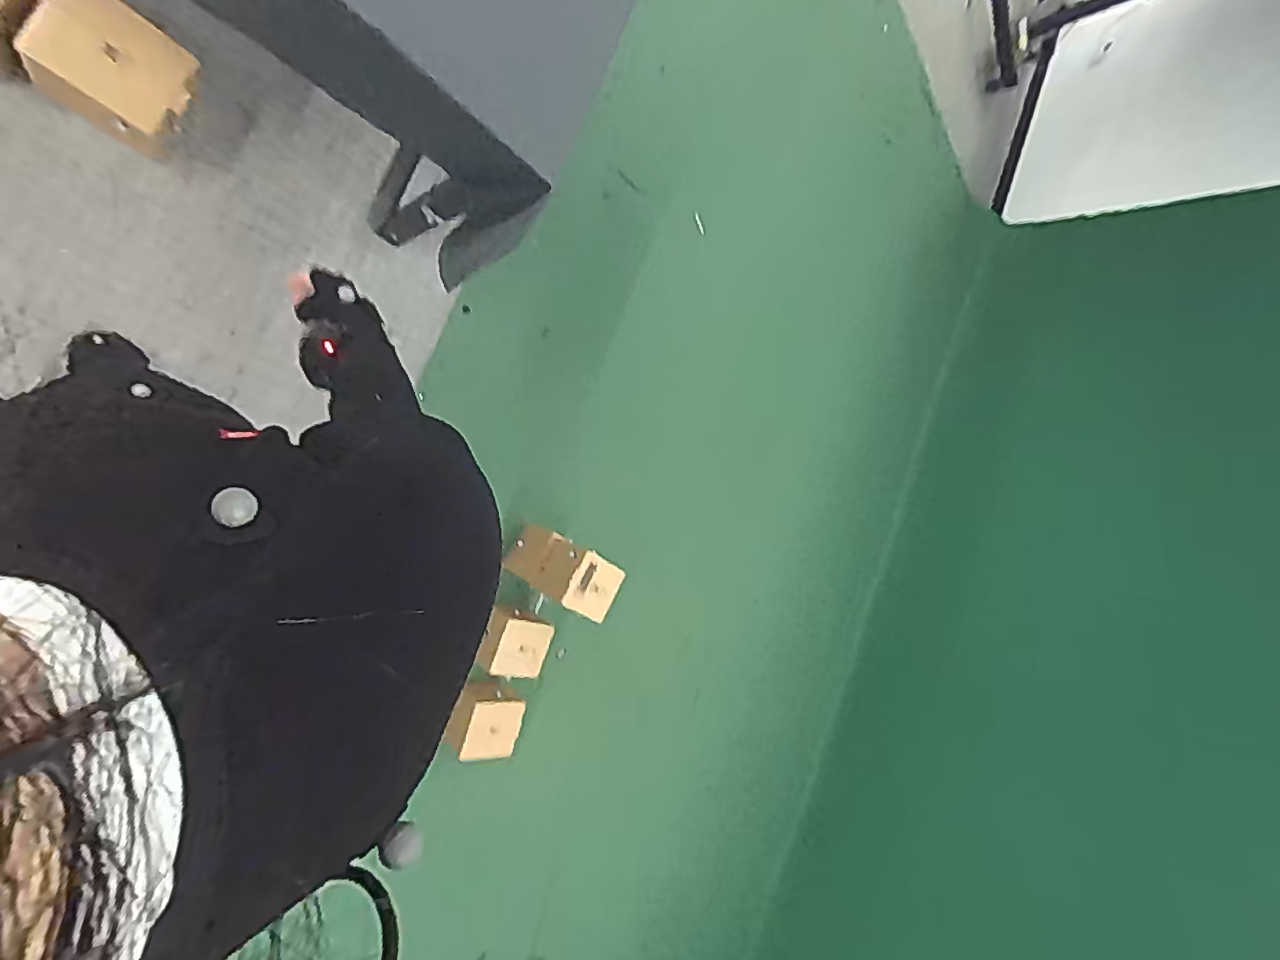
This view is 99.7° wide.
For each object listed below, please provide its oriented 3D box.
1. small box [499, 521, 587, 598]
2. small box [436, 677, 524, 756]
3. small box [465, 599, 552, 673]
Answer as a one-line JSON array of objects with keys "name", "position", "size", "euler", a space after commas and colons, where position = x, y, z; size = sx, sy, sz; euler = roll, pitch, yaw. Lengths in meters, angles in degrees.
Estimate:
[{"name": "small box", "position": [-0.309, 0.247, 1.715], "size": [0.179, 0.176, 0.168], "euler": [40, 71, -39]}, {"name": "small box", "position": [-0.491, 0.715, 1.653], "size": [0.179, 0.176, 0.168], "euler": [20, 85, -43]}, {"name": "small box", "position": [-0.411, 0.480, 1.672], "size": [0.179, 0.176, 0.168], "euler": [25, 83, -43]}]
